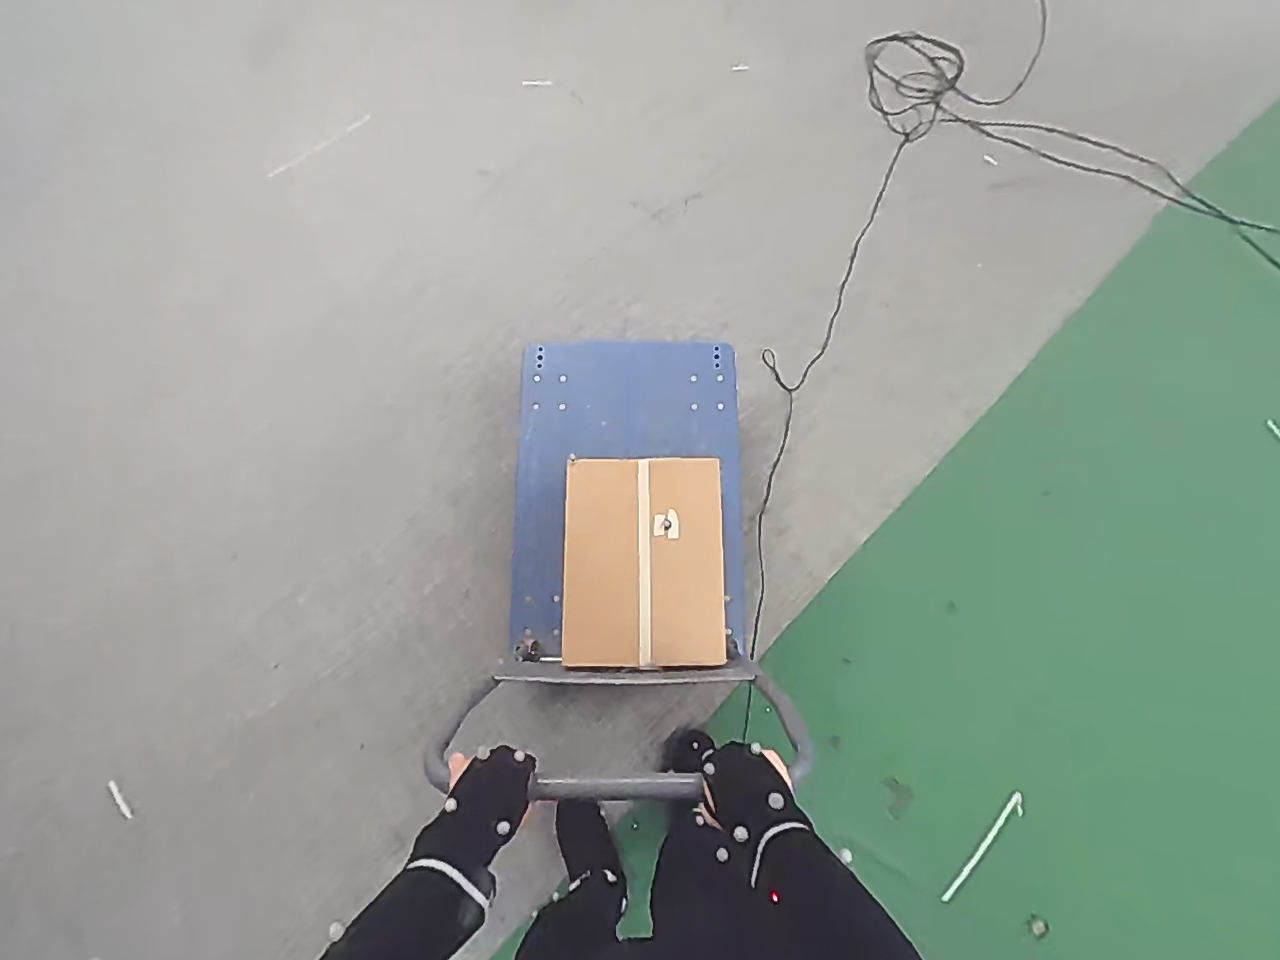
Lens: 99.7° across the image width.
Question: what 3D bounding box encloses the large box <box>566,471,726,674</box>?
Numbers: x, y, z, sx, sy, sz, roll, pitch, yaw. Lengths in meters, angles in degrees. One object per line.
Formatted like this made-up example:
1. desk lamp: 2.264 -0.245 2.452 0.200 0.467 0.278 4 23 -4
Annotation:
1. large box: 0.012 0.212 1.222 0.320 0.320 0.408 0 77 0
